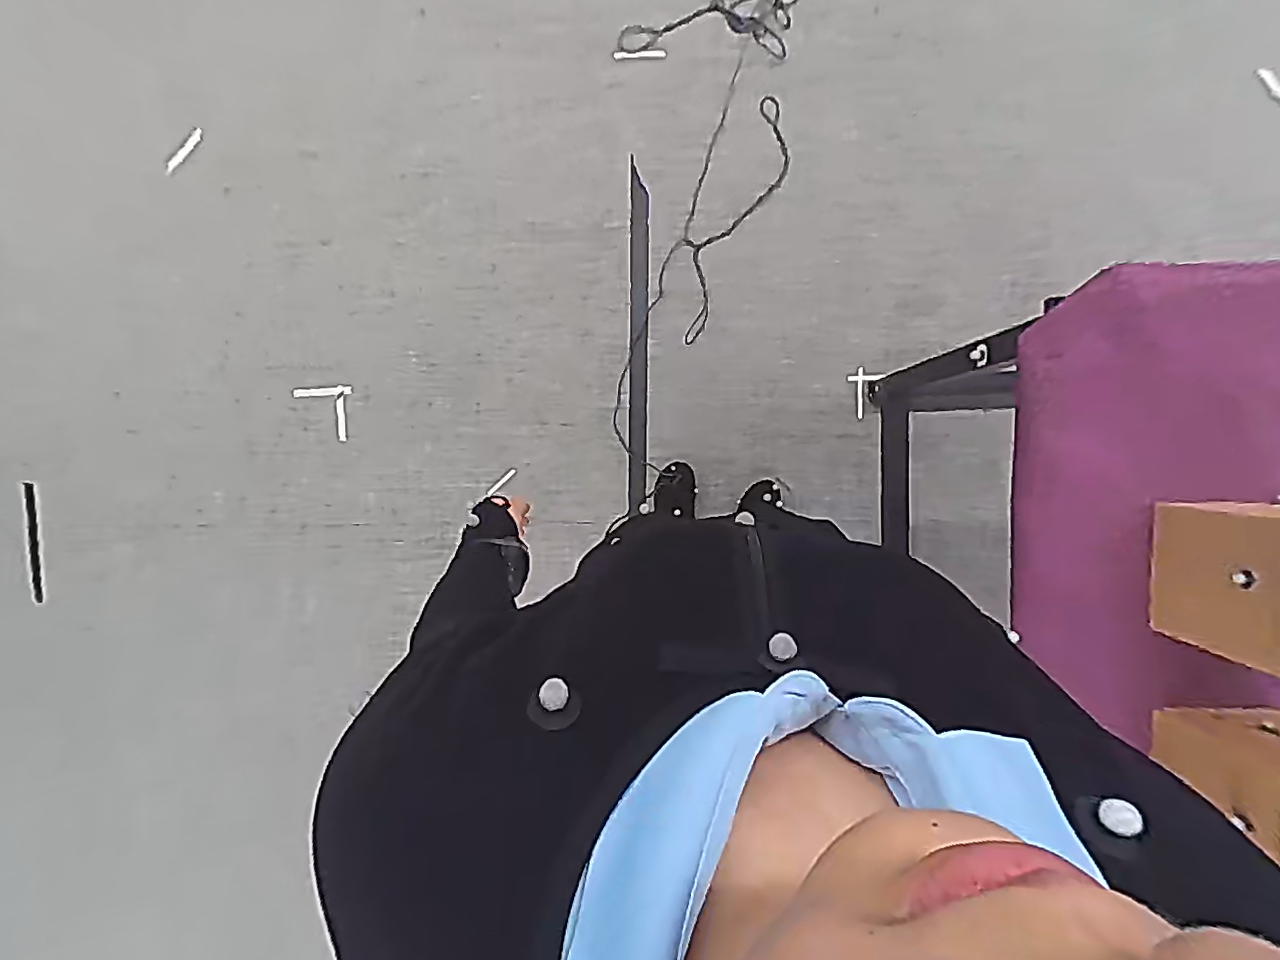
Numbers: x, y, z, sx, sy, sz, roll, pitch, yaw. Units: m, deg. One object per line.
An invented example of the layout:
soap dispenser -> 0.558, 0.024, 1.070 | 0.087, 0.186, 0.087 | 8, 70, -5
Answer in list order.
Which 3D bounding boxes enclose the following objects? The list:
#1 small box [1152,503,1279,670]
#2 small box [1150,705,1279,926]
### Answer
small box -> 0.777, 0.120, 0.653 | 0.168, 0.176, 0.179 | 0, 94, 4
small box -> 0.788, 0.405, 0.669 | 0.168, 0.176, 0.179 | 0, 92, 4
